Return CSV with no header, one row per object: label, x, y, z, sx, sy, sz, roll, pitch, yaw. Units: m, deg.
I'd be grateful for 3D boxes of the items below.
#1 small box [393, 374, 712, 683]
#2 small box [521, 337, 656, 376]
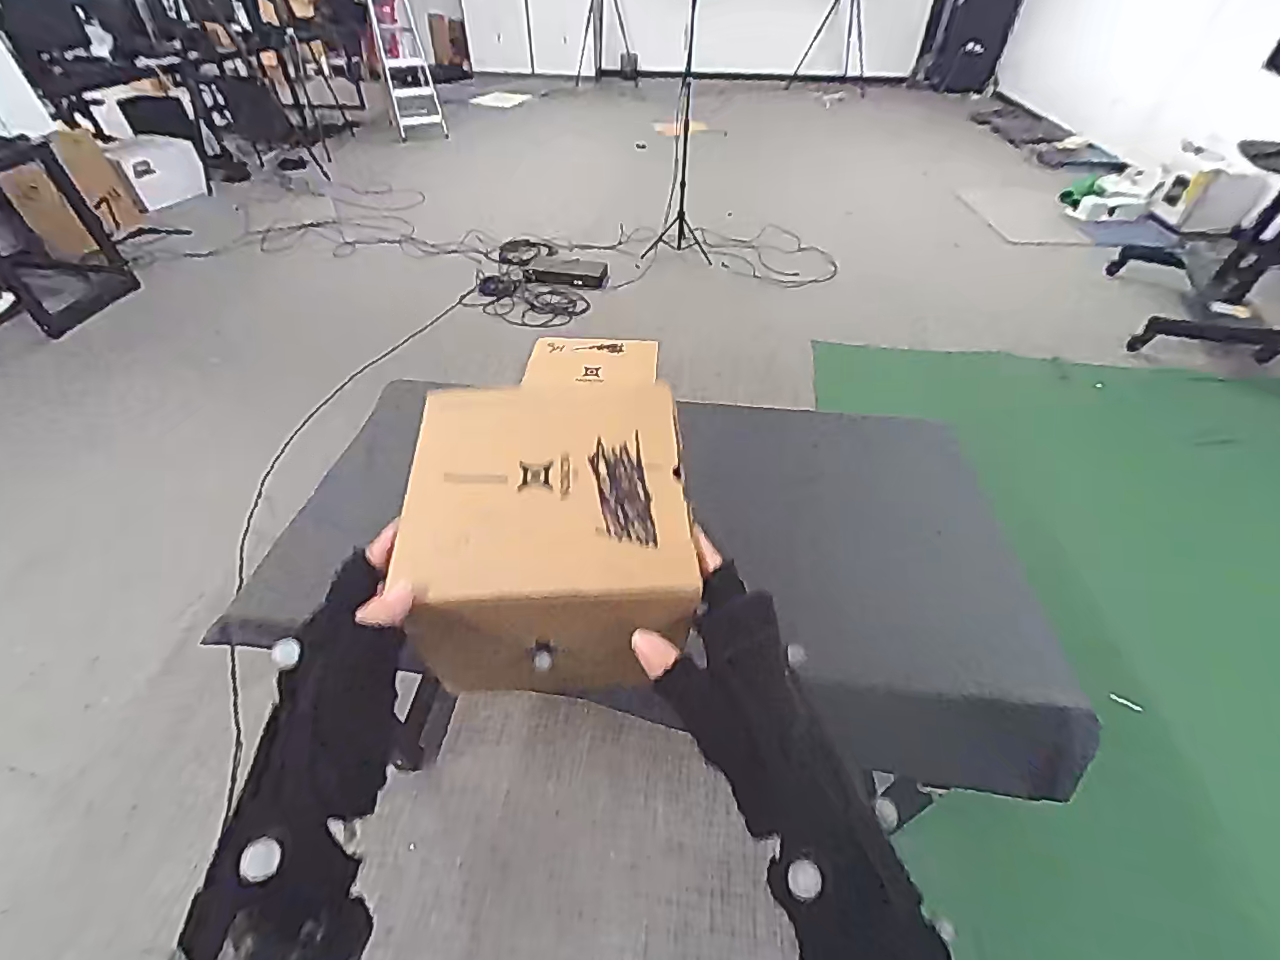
small box,-0.060,0.040,0.403,0.179,0.176,0.168,-4,55,-8
small box,-0.065,-0.070,0.721,0.168,0.176,0.179,3,46,2
